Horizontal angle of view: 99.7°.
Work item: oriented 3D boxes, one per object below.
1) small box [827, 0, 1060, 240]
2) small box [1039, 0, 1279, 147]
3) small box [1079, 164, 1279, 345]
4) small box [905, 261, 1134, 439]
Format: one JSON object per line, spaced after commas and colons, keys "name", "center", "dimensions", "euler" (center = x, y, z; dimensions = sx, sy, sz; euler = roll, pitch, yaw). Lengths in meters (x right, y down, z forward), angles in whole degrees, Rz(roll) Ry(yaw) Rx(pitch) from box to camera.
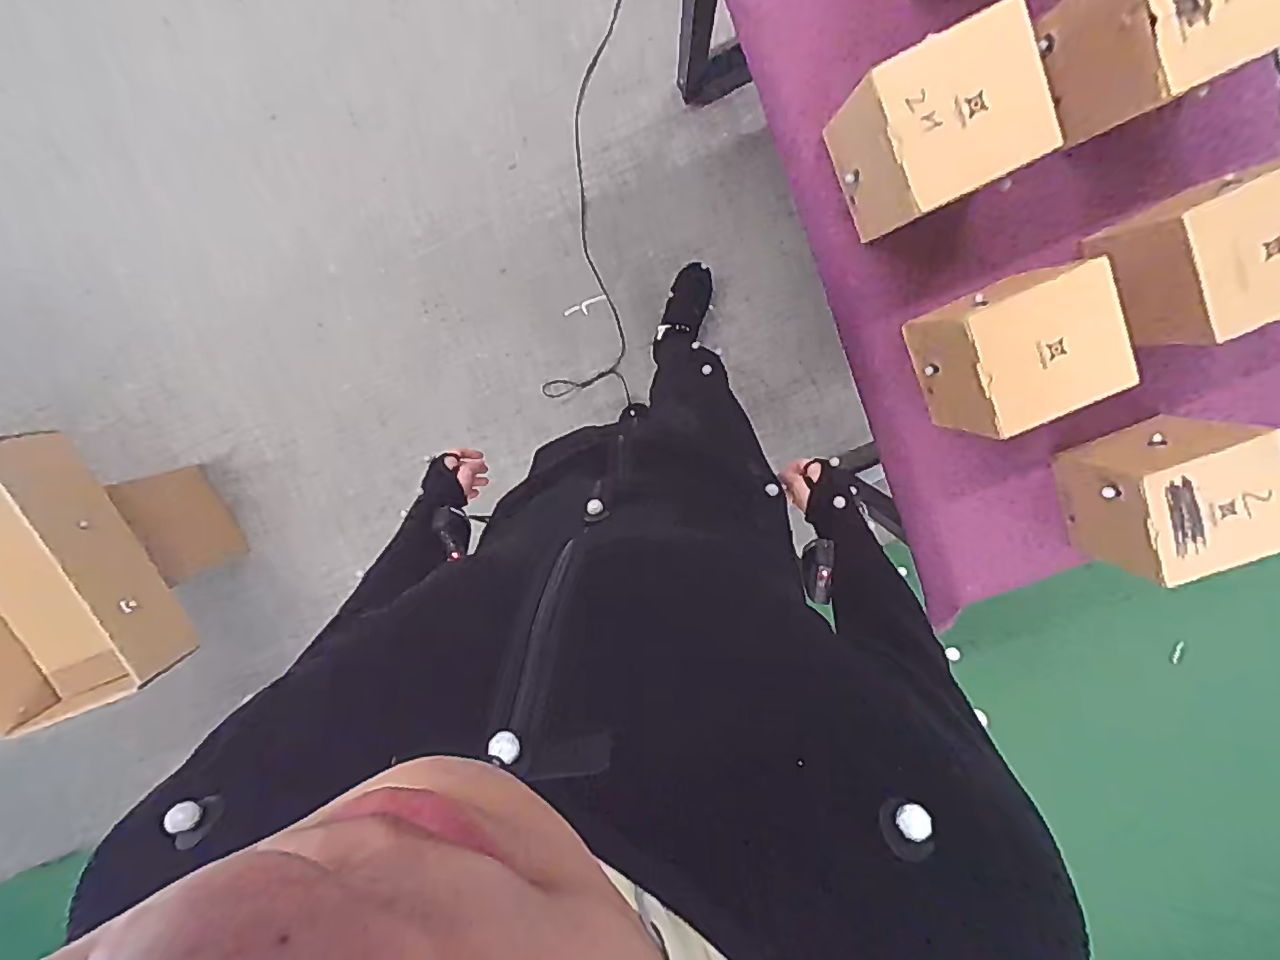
{"name": "small box", "center": [0.367, -0.432, 0.683], "dimensions": [0.179, 0.176, 0.168], "euler": [-24, 101, 6]}
{"name": "small box", "center": [0.627, -0.544, 0.652], "dimensions": [0.179, 0.176, 0.168], "euler": [-24, 101, 6]}
{"name": "small box", "center": [0.741, -0.289, 0.710], "dimensions": [0.179, 0.176, 0.168], "euler": [-24, 100, 8]}
{"name": "small box", "center": [0.505, -0.176, 0.742], "dimensions": [0.179, 0.176, 0.168], "euler": [-24, 101, 6]}
